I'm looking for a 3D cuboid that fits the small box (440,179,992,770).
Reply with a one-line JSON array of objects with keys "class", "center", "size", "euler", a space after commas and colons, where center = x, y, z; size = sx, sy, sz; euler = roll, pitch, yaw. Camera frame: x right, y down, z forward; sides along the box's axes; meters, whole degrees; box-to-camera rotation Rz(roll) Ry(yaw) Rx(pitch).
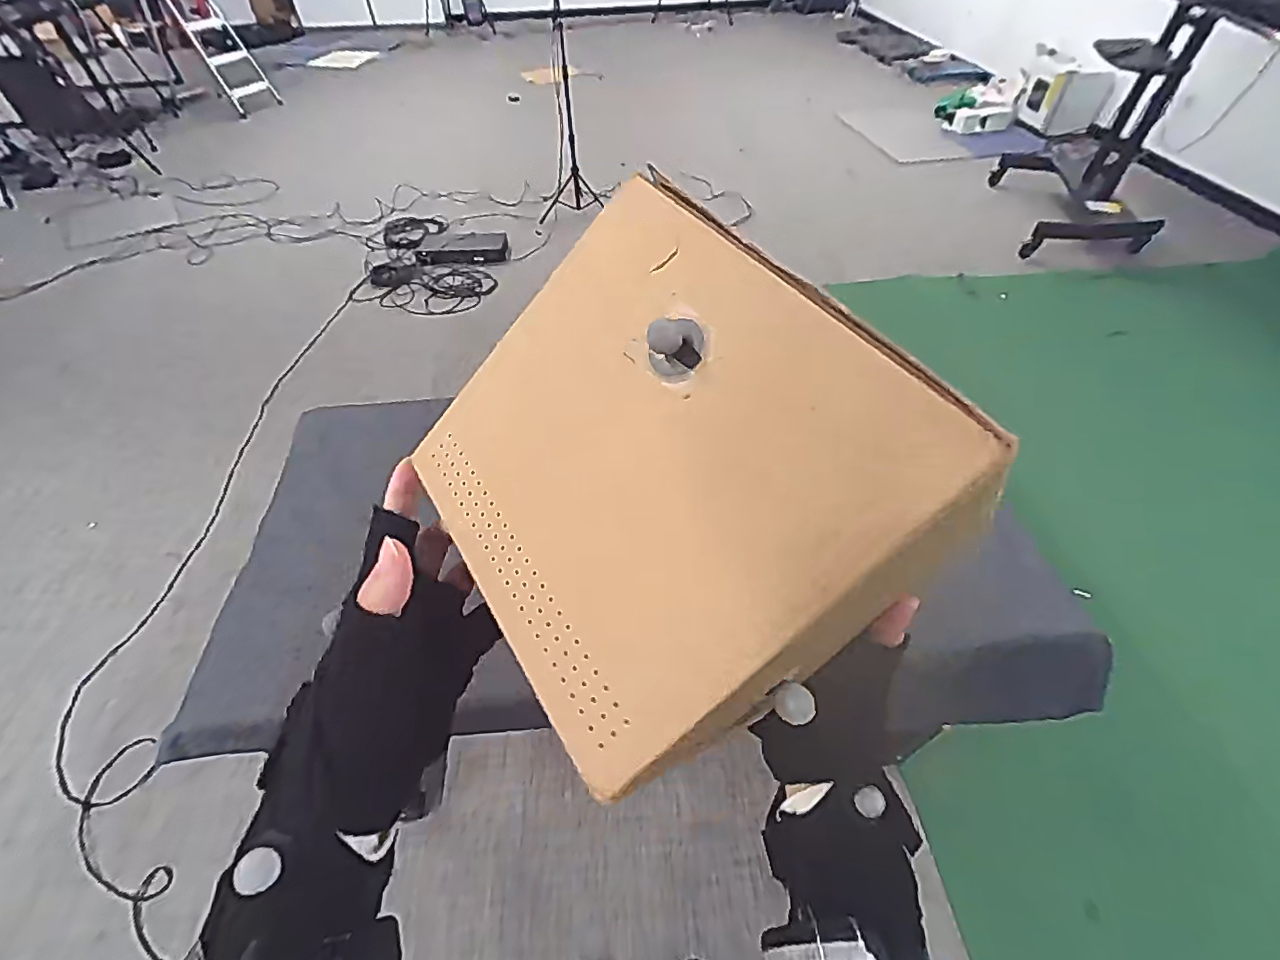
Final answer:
[{"class": "small box", "center": [0.033, 0.002, 0.273], "size": [0.176, 0.168, 0.179], "euler": [-47, 61, 15]}]
